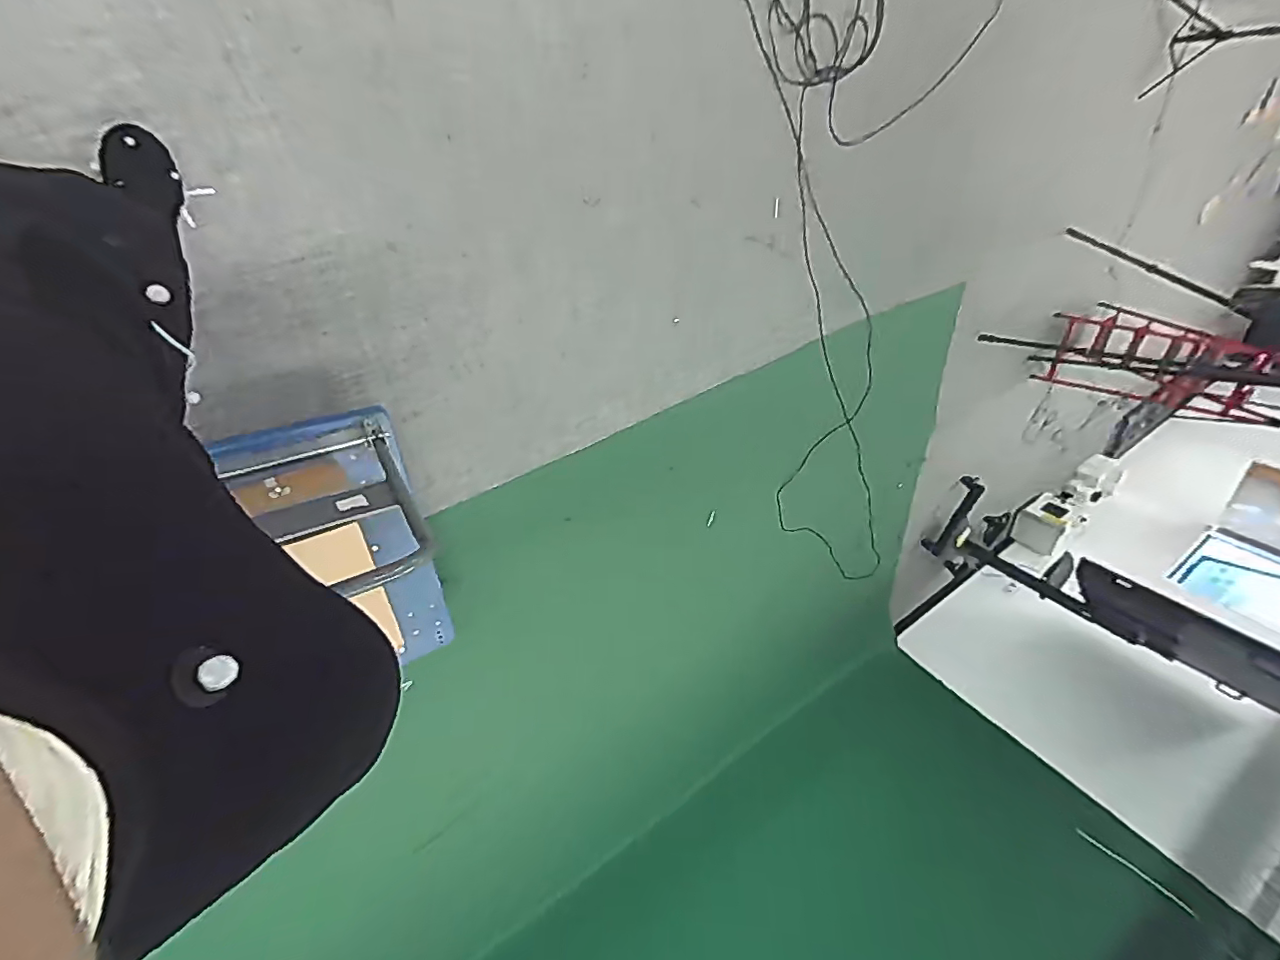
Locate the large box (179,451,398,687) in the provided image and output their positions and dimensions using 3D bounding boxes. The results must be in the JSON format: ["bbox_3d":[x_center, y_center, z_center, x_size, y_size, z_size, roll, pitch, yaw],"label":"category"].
[{"bbox_3d":[-0.832,0.200,1.309,0.320,0.320,0.408,-20,128,-26],"label":"large box"}]
